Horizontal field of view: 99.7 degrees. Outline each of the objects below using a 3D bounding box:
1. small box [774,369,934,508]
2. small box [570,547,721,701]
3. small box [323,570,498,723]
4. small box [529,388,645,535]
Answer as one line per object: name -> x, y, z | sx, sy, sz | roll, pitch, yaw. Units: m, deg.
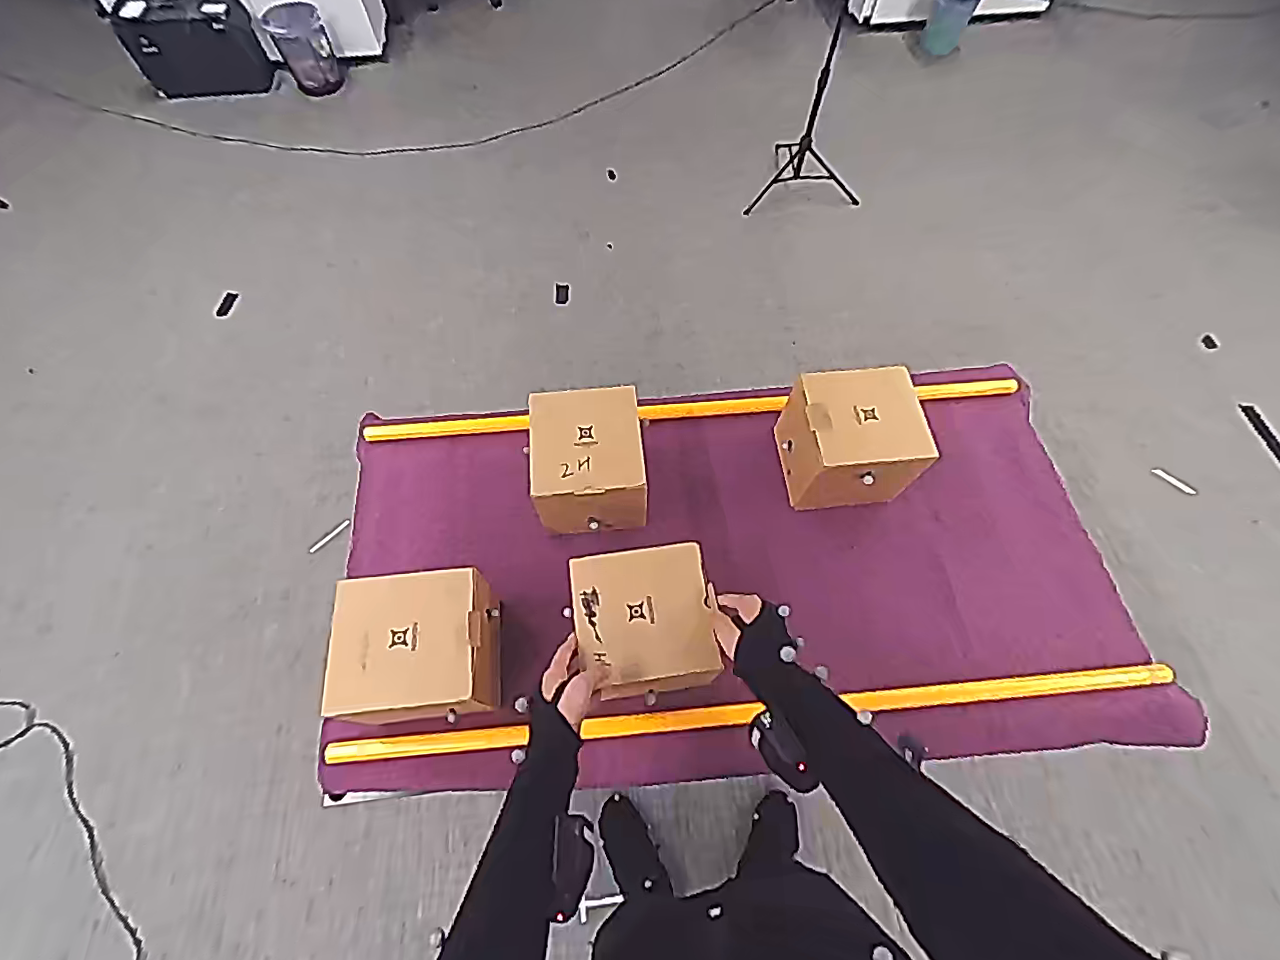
small box -> 0.337, -0.063, 0.890 | 0.179, 0.176, 0.168 | -5, 65, -2
small box -> 0.001, 0.205, 0.754 | 0.179, 0.176, 0.168 | -7, 63, -5
small box -> -0.295, 0.232, 0.740 | 0.179, 0.176, 0.168 | -5, 63, -5
small box -> -0.083, -0.025, 0.870 | 0.168, 0.176, 0.179 | -5, 65, -2
